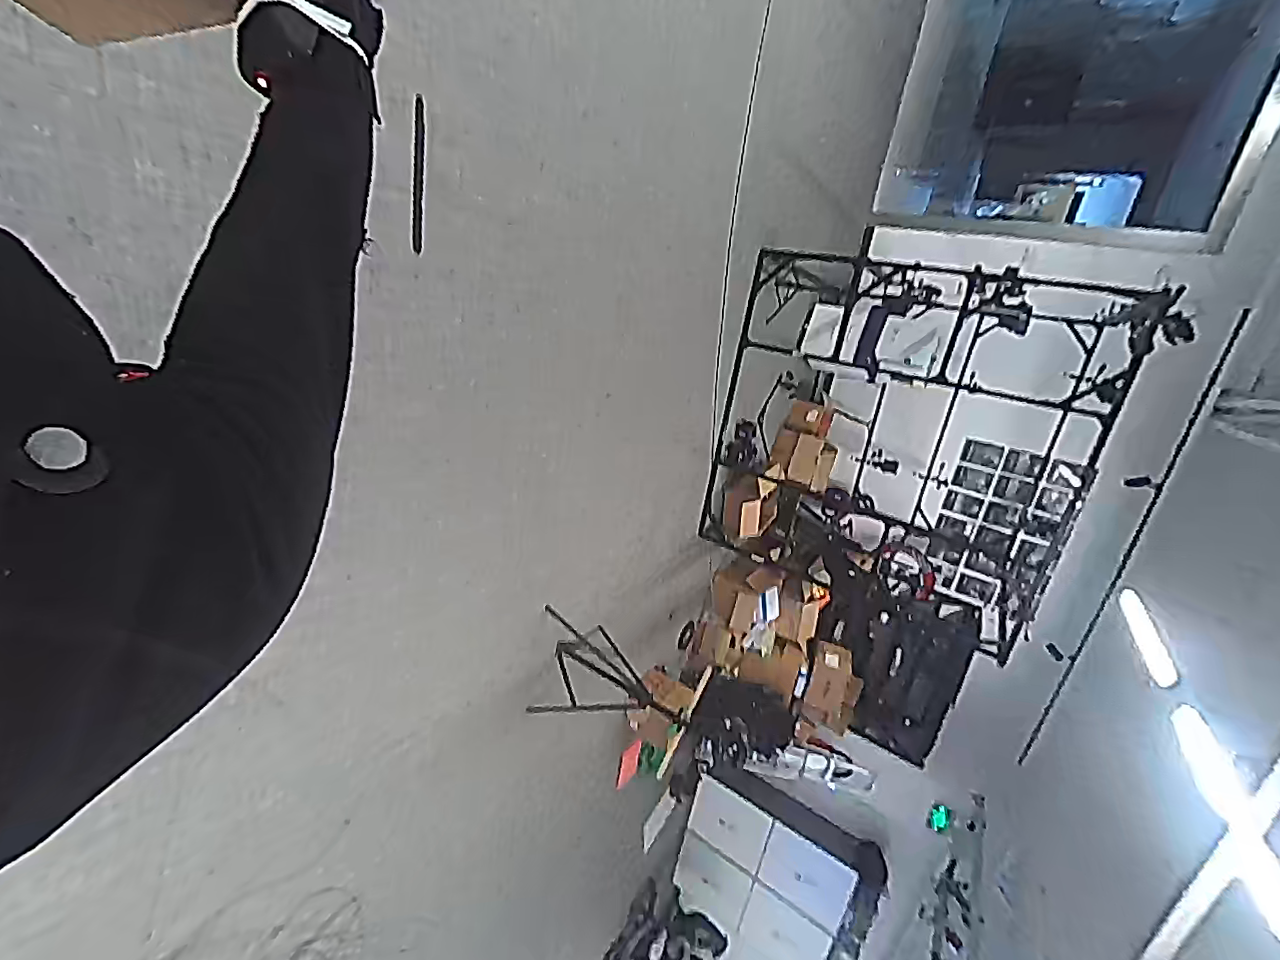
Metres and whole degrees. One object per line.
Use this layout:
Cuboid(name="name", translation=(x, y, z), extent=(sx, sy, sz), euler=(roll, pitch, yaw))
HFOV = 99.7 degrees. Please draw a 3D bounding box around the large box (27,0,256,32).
Cuboid(name="large box", translation=(-0.472, -0.582, 0.313), extent=(0.408, 0.320, 0.320), euler=(21, 88, -66))
